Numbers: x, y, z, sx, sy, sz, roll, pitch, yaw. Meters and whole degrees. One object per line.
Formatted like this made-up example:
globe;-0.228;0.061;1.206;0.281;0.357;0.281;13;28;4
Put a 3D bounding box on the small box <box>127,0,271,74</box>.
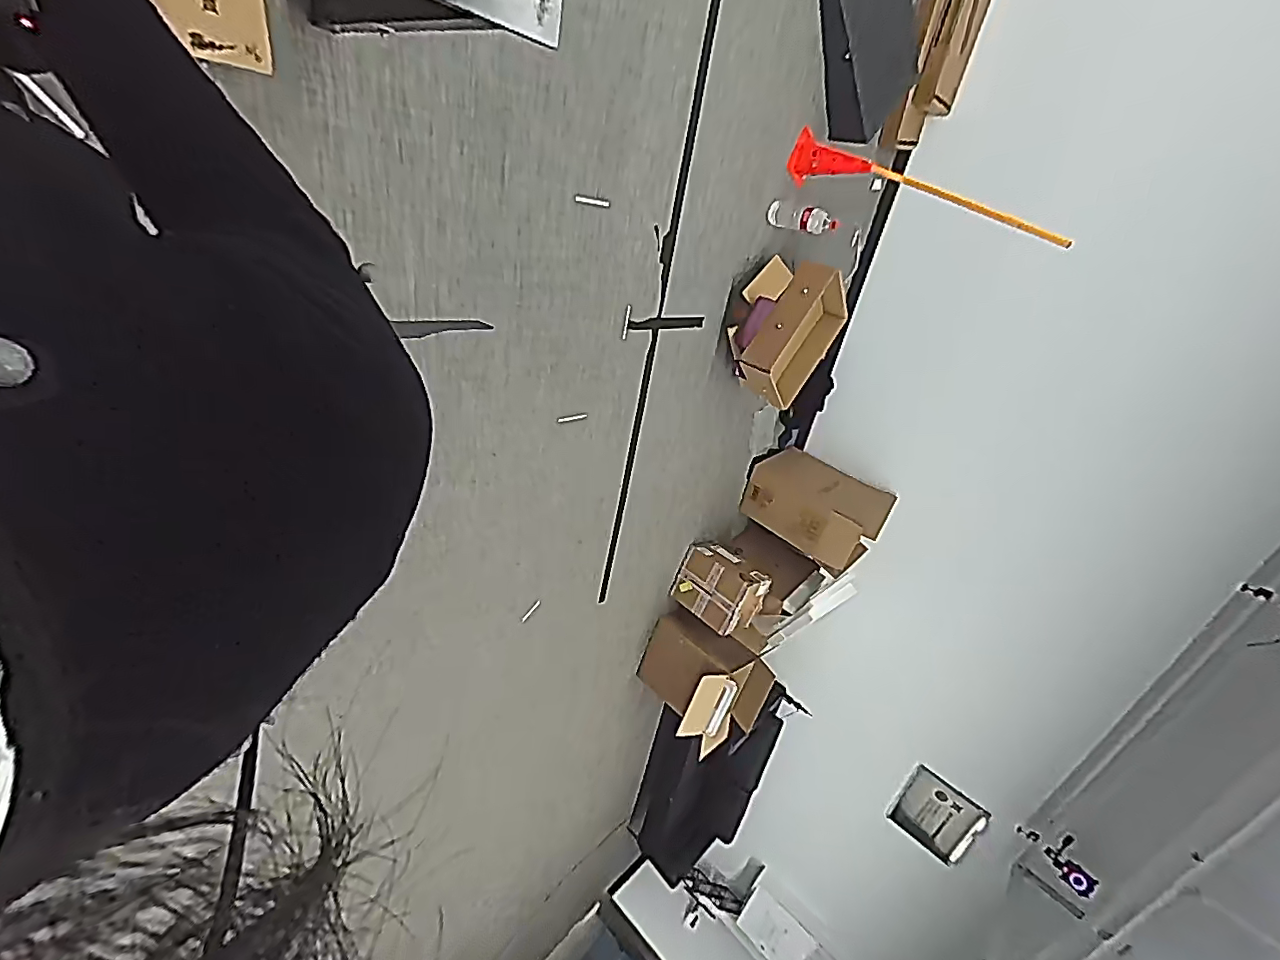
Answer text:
small box;-0.768;-0.829;0.930;0.168;0.176;0.179;-19;130;-44
